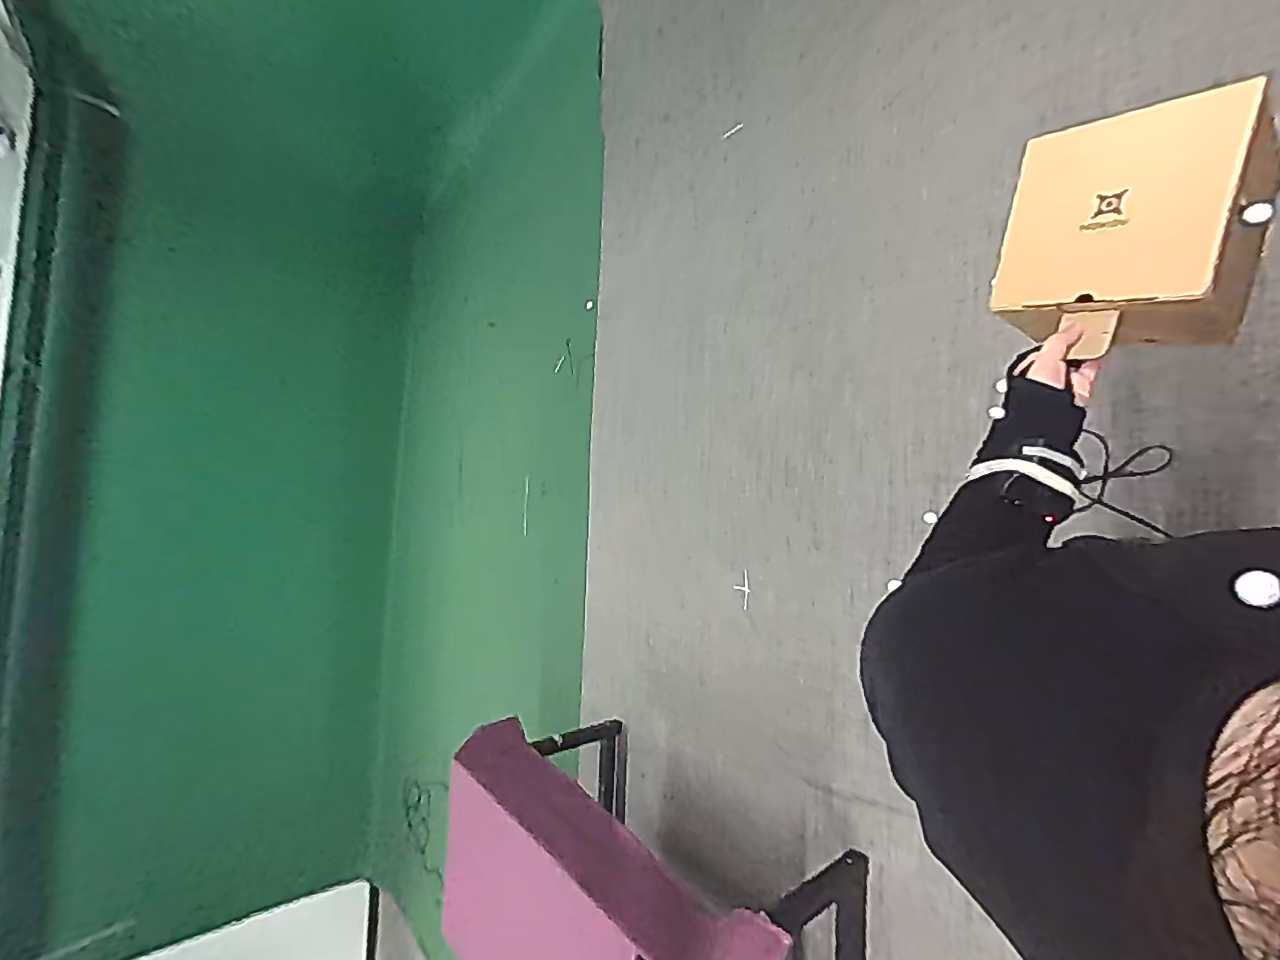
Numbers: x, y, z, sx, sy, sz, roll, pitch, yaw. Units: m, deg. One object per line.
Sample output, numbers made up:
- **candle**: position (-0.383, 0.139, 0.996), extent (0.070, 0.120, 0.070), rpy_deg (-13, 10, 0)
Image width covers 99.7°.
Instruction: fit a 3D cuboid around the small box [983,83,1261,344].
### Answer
- **small box**: position (0.493, -0.247, 0.556), extent (0.168, 0.176, 0.179), rpy_deg (18, 100, 52)
